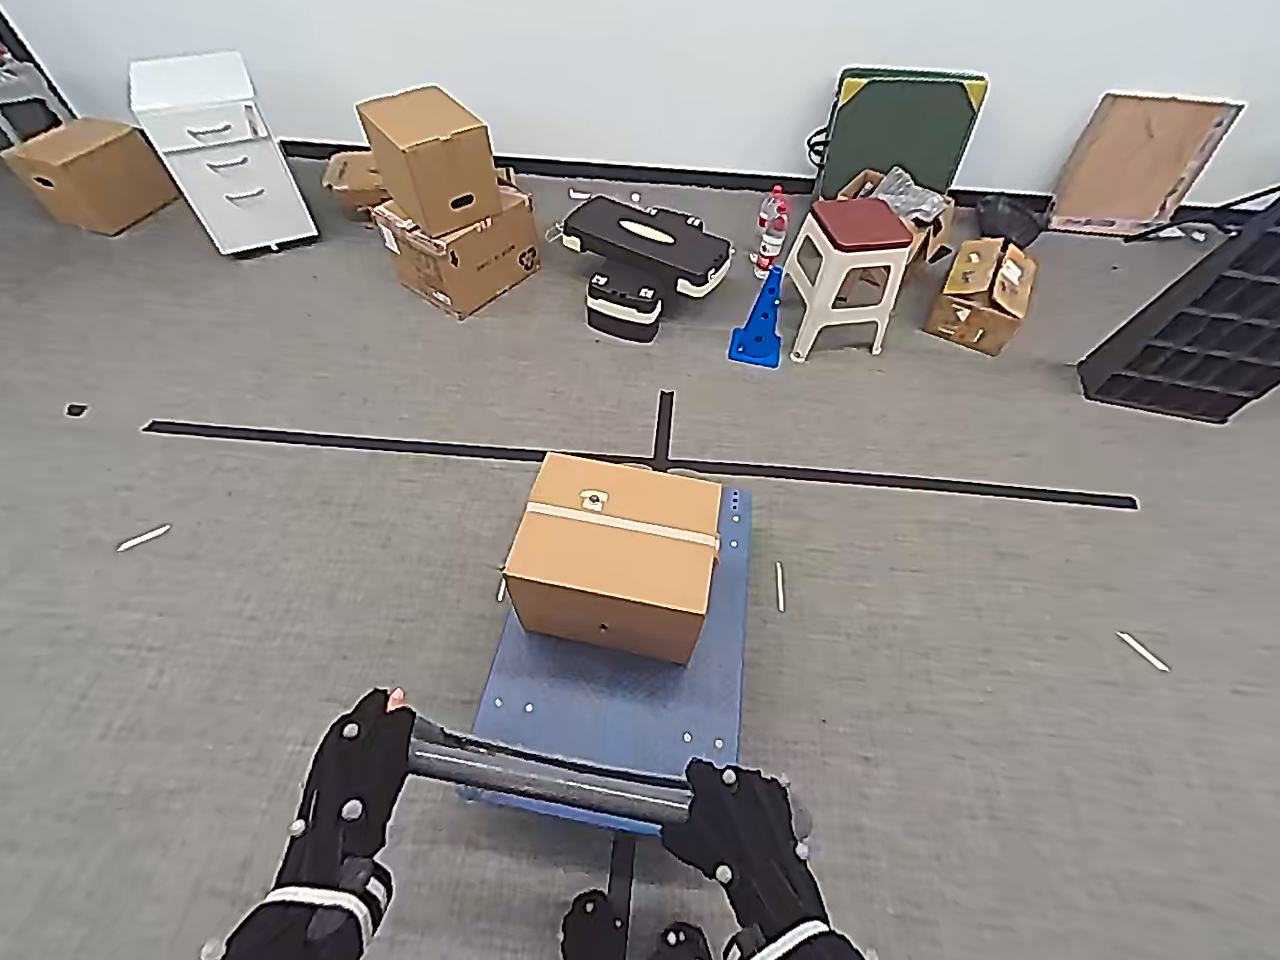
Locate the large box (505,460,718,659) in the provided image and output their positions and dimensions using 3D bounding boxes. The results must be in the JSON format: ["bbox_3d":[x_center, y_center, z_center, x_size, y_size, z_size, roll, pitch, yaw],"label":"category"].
[{"bbox_3d":[-0.047,0.191,1.254,0.408,0.320,0.320,10,55,6],"label":"large box"}]
